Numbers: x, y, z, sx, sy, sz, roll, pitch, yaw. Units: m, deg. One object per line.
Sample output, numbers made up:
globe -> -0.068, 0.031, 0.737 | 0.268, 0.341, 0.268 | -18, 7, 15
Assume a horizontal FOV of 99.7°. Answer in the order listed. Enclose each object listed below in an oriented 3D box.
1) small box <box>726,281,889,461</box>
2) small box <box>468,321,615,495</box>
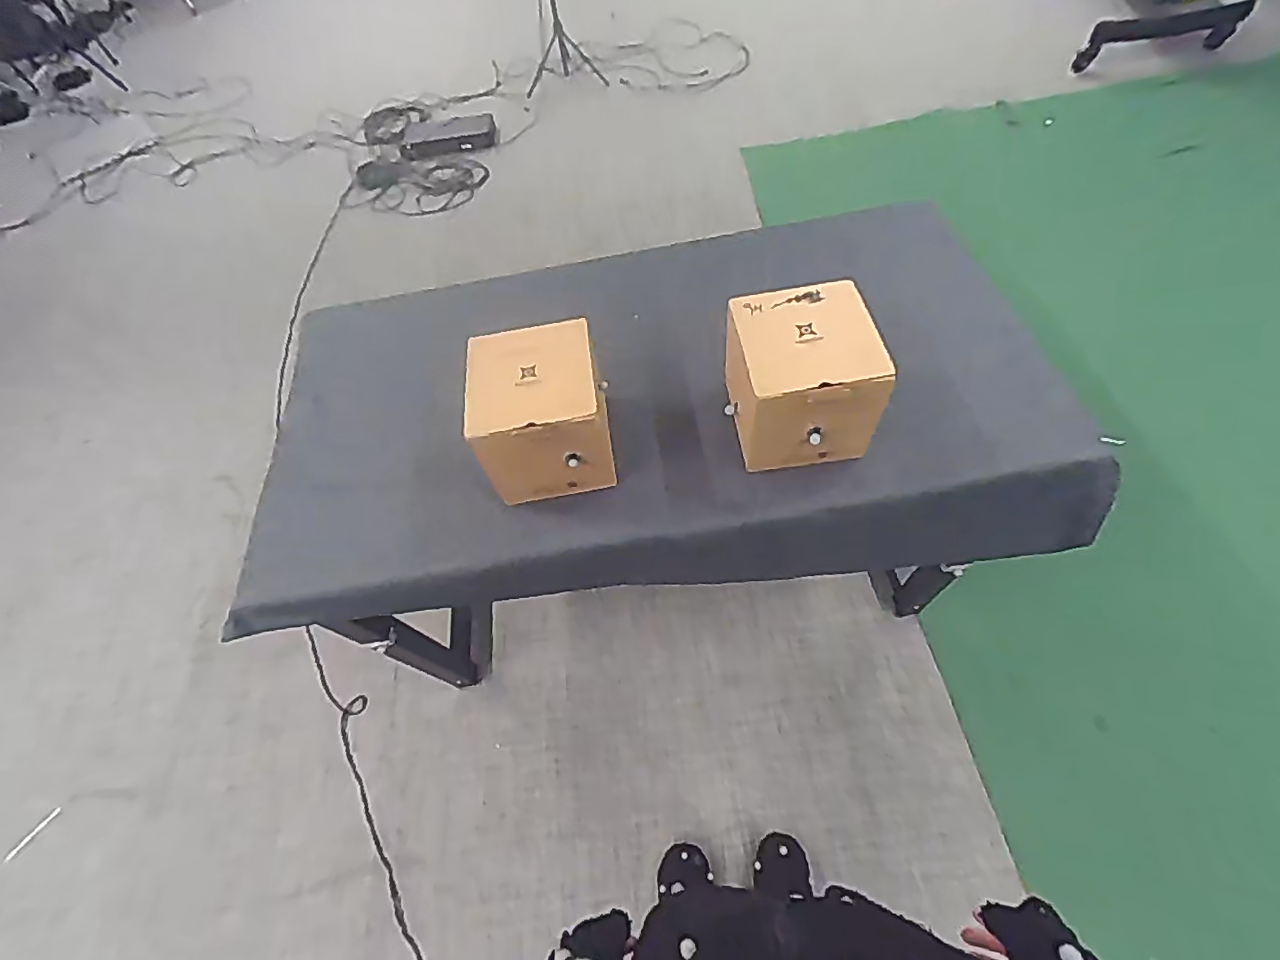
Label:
small box -> 0.215, -0.139, 0.748 | 0.168, 0.176, 0.179 | -8, 59, 2
small box -> -0.133, -0.092, 0.767 | 0.168, 0.176, 0.179 | -10, 56, -1
